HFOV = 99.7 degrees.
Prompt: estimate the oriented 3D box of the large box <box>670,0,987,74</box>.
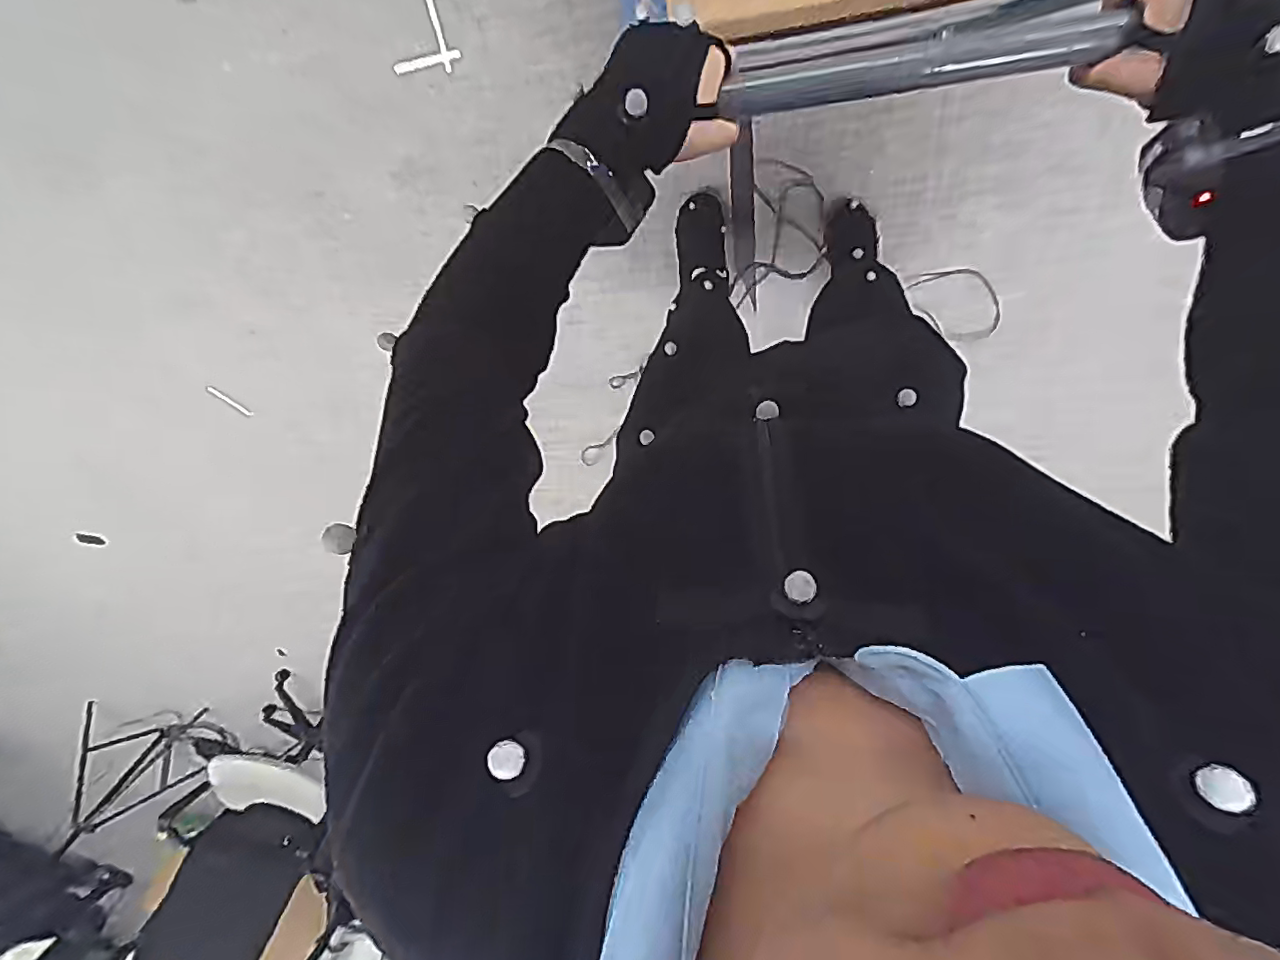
[{"bbox_3d":[0.231,-0.761,0.700,0.408,0.320,0.320,-4,124,9],"label":"large box"}]
